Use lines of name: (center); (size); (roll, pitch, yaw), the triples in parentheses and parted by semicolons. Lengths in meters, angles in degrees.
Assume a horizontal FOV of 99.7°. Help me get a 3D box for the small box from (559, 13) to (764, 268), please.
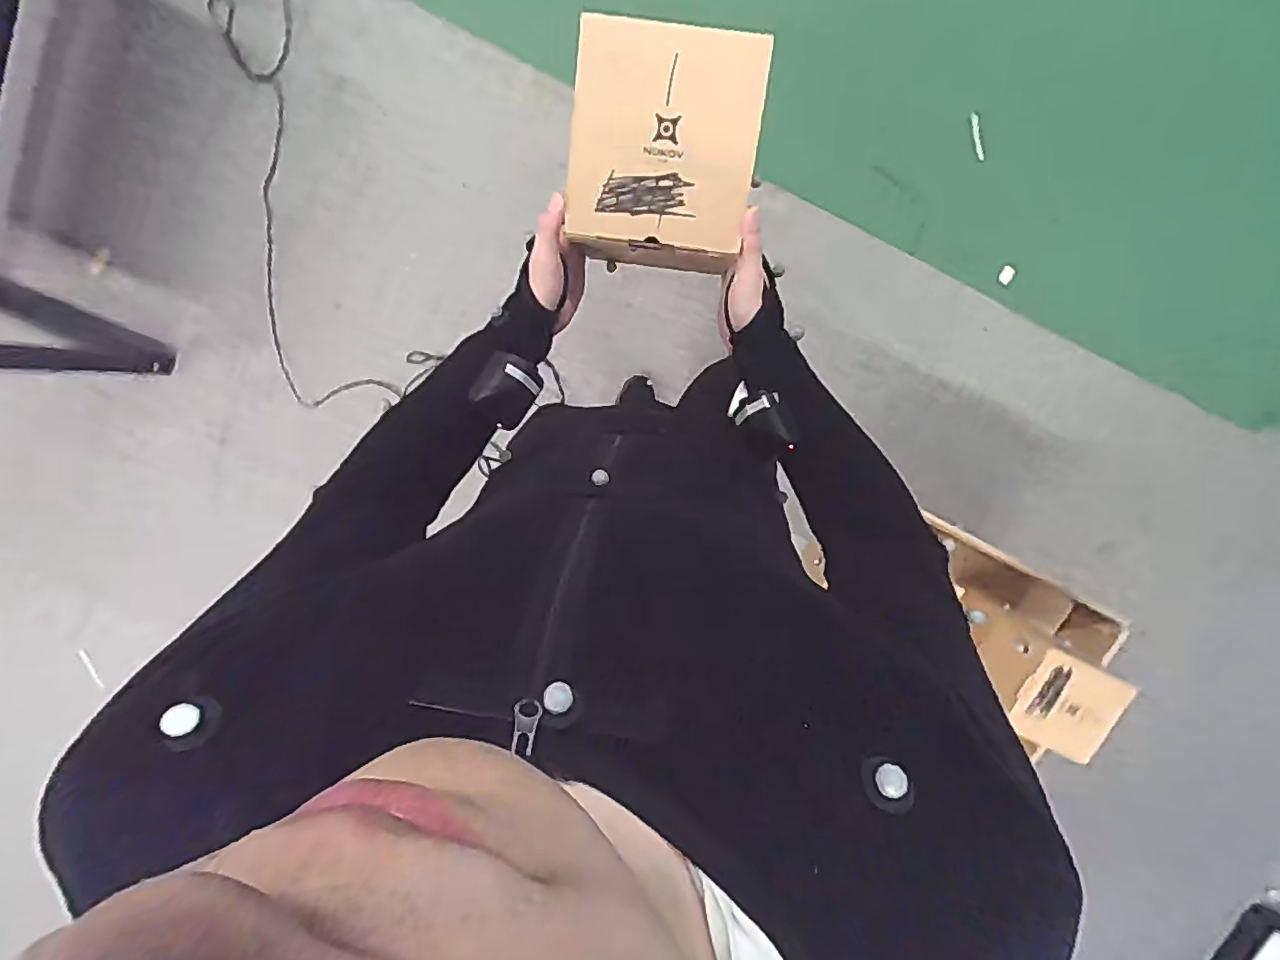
small box: (0.019, -0.321, 0.550); (0.168, 0.176, 0.179); (6, 105, 1)

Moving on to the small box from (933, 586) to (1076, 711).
small box: (0.763, 0.352, 1.166); (0.179, 0.176, 0.168); (27, 100, -1)
